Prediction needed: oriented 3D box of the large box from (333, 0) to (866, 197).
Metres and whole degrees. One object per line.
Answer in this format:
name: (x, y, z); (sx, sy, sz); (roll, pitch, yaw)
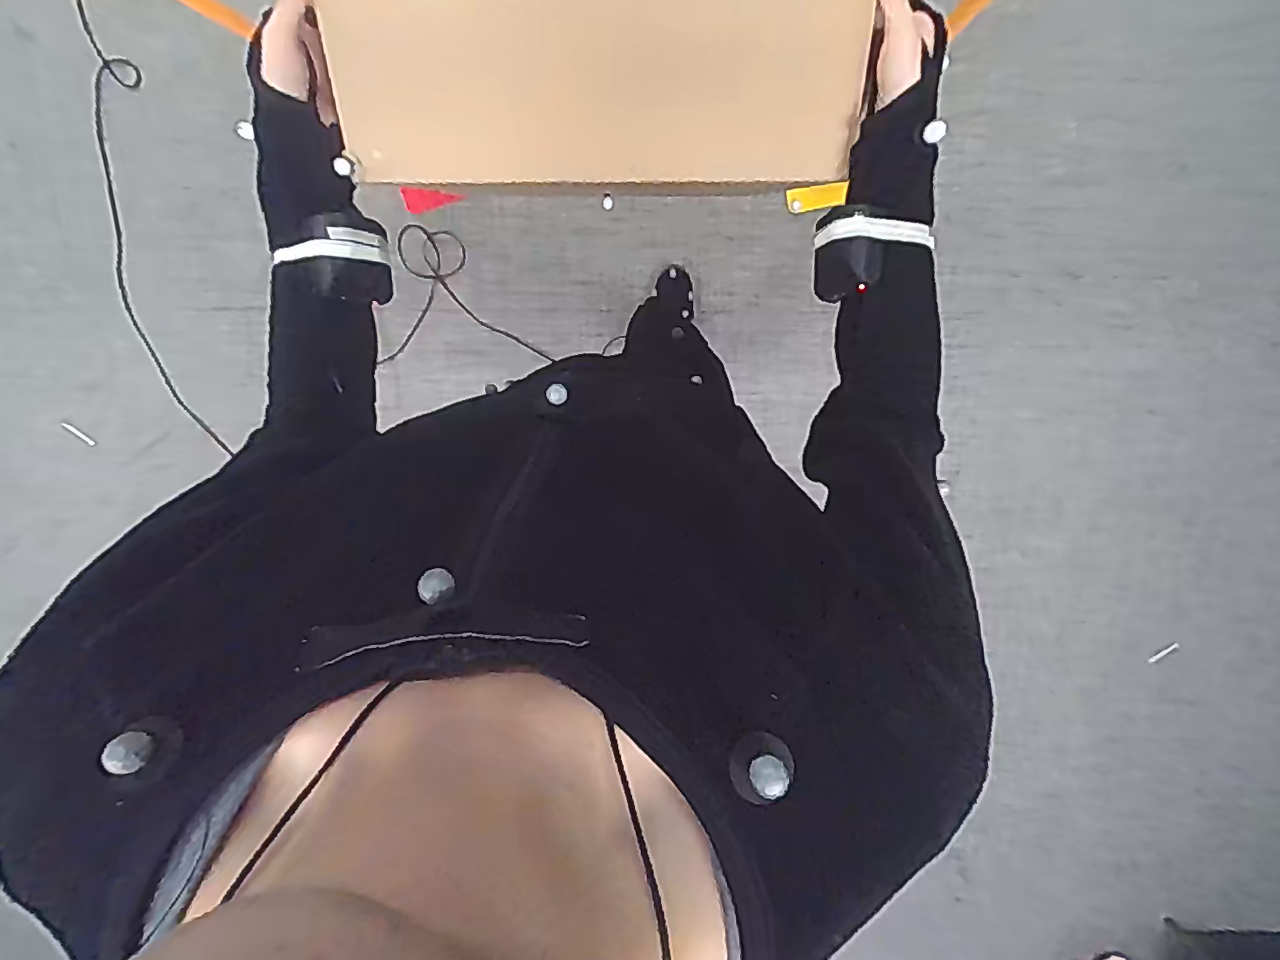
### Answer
large box: (-0.031, -0.453, 0.521); (0.408, 0.320, 0.320); (-1, 115, -1)
